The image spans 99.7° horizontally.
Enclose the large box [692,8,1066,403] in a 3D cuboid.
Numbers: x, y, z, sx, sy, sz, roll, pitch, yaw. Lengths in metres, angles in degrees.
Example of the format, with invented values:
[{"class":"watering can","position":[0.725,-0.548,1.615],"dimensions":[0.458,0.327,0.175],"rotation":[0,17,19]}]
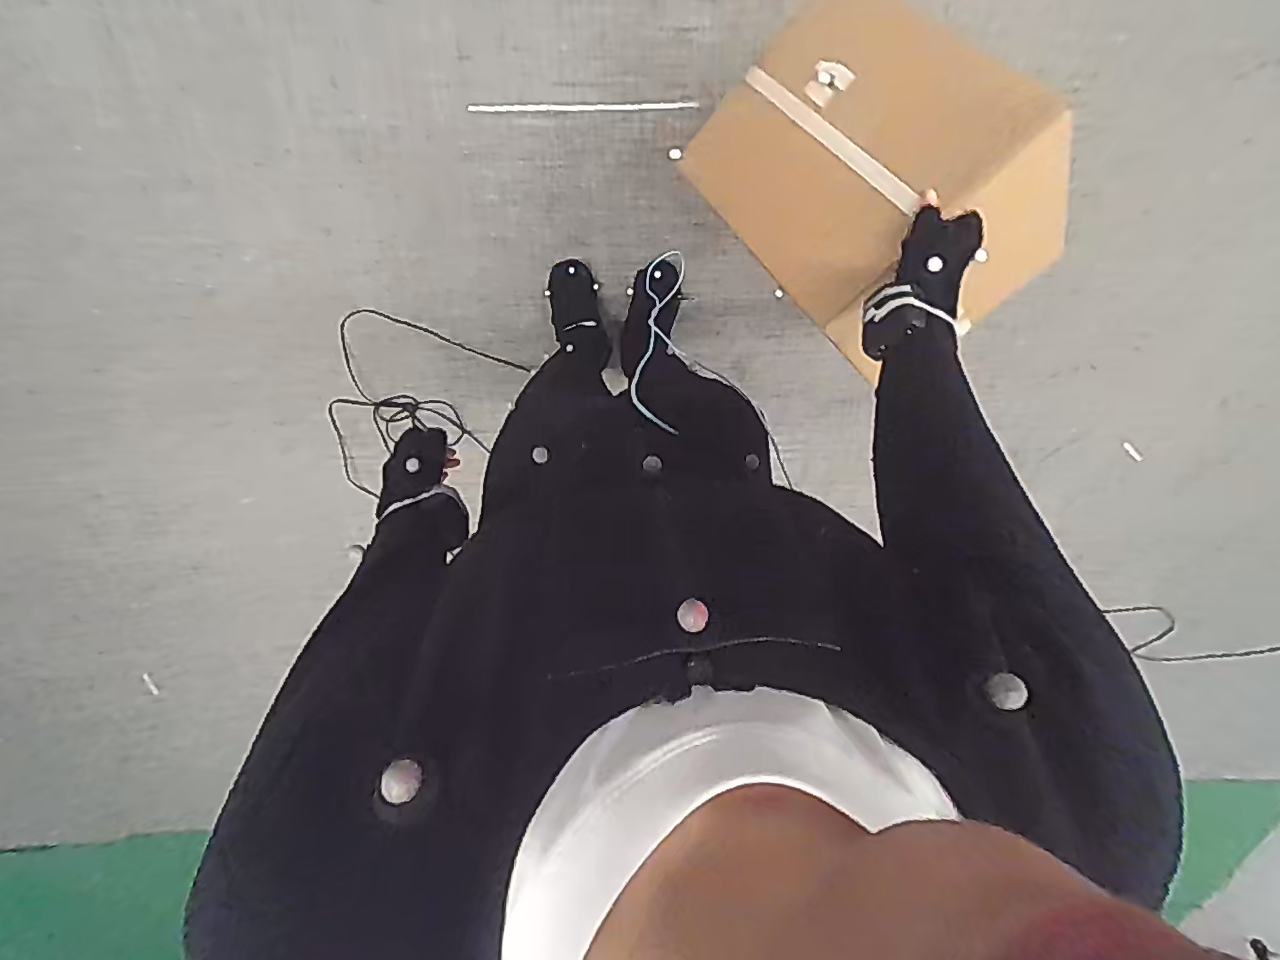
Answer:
[{"class":"large box","position":[0.357,-0.393,0.837],"dimensions":[0.320,0.408,0.320],"rotation":[-40,148,23]}]
